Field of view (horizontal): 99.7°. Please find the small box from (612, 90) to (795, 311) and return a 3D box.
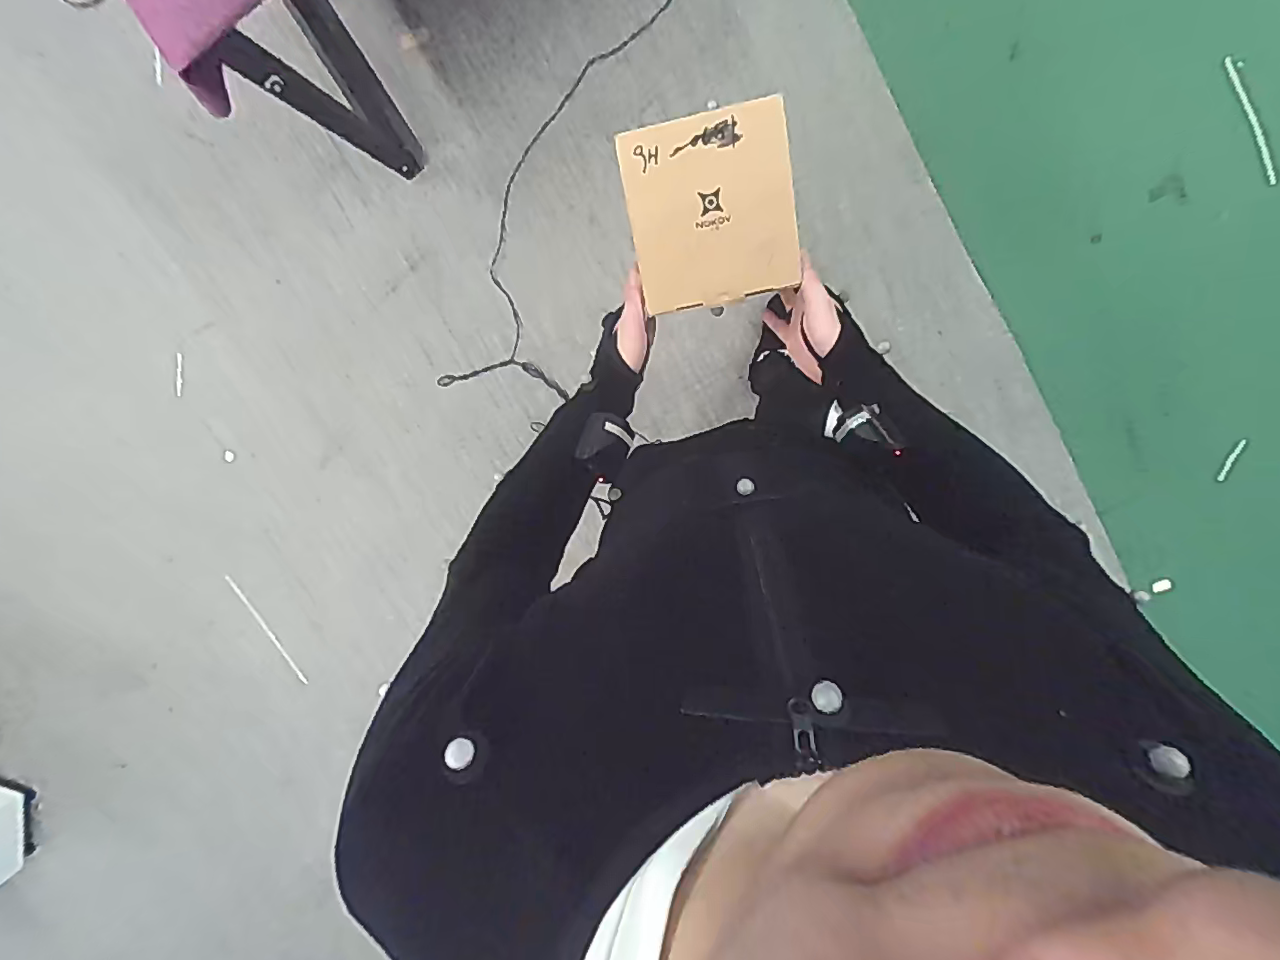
[{"bbox_3d":[0.070,-0.301,0.615,0.168,0.176,0.179,-10,109,5],"label":"small box"}]
